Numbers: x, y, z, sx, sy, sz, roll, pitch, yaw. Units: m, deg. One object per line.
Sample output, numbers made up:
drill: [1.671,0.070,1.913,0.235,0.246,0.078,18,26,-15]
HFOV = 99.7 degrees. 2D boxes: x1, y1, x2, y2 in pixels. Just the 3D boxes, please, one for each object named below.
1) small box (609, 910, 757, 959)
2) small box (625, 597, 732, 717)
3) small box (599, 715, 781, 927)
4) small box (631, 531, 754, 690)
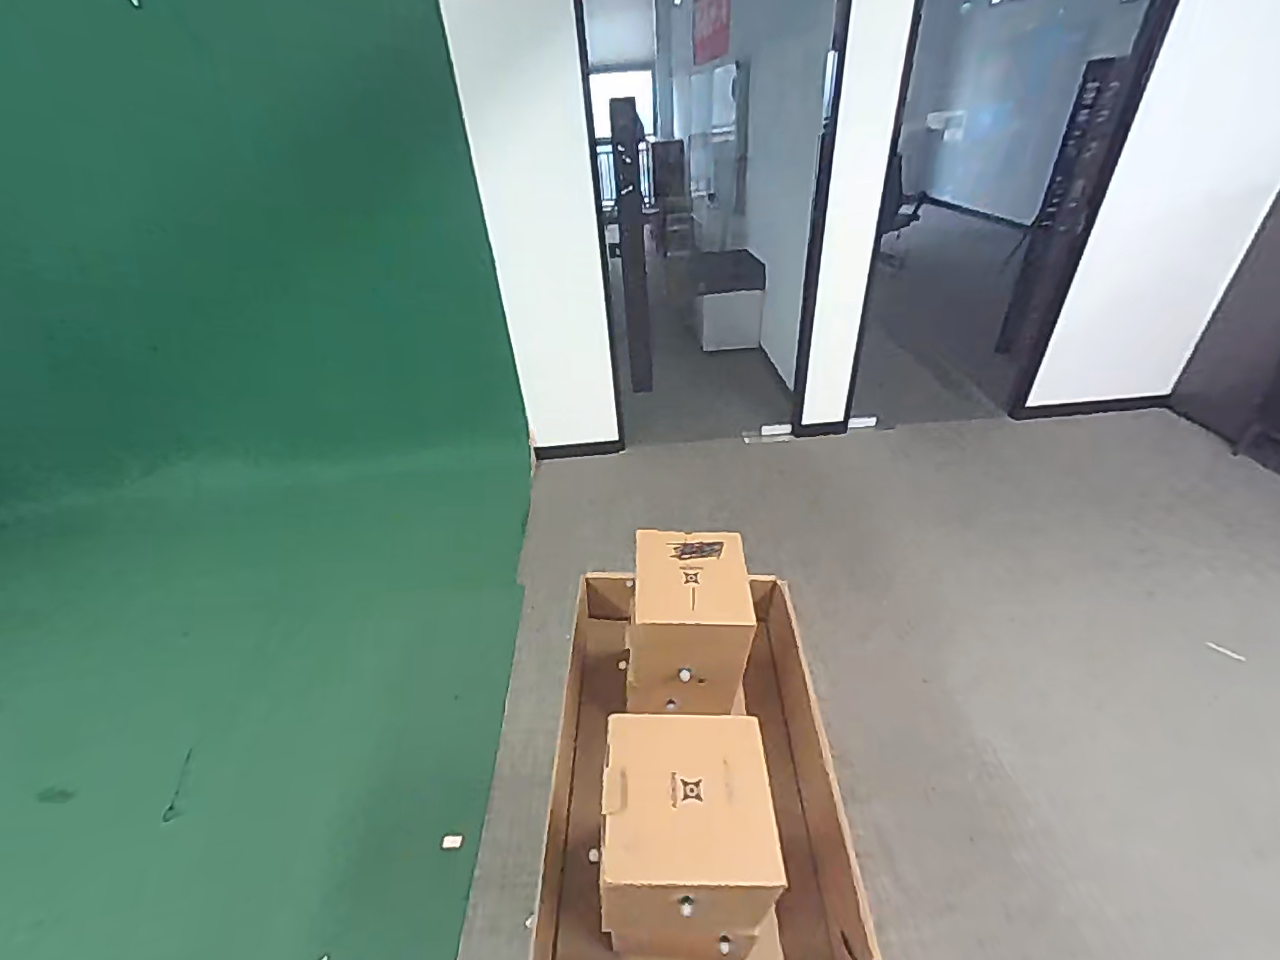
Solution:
small box: [0.051,0.514,0.724,0.179,0.176,0.168,4,39,2]
small box: [0.066,0.325,0.952,0.179,0.176,0.168,2,41,1]
small box: [0.046,0.390,0.620,0.179,0.176,0.168,2,40,-2]
small box: [0.073,0.202,0.843,0.168,0.176,0.179,2,41,0]
